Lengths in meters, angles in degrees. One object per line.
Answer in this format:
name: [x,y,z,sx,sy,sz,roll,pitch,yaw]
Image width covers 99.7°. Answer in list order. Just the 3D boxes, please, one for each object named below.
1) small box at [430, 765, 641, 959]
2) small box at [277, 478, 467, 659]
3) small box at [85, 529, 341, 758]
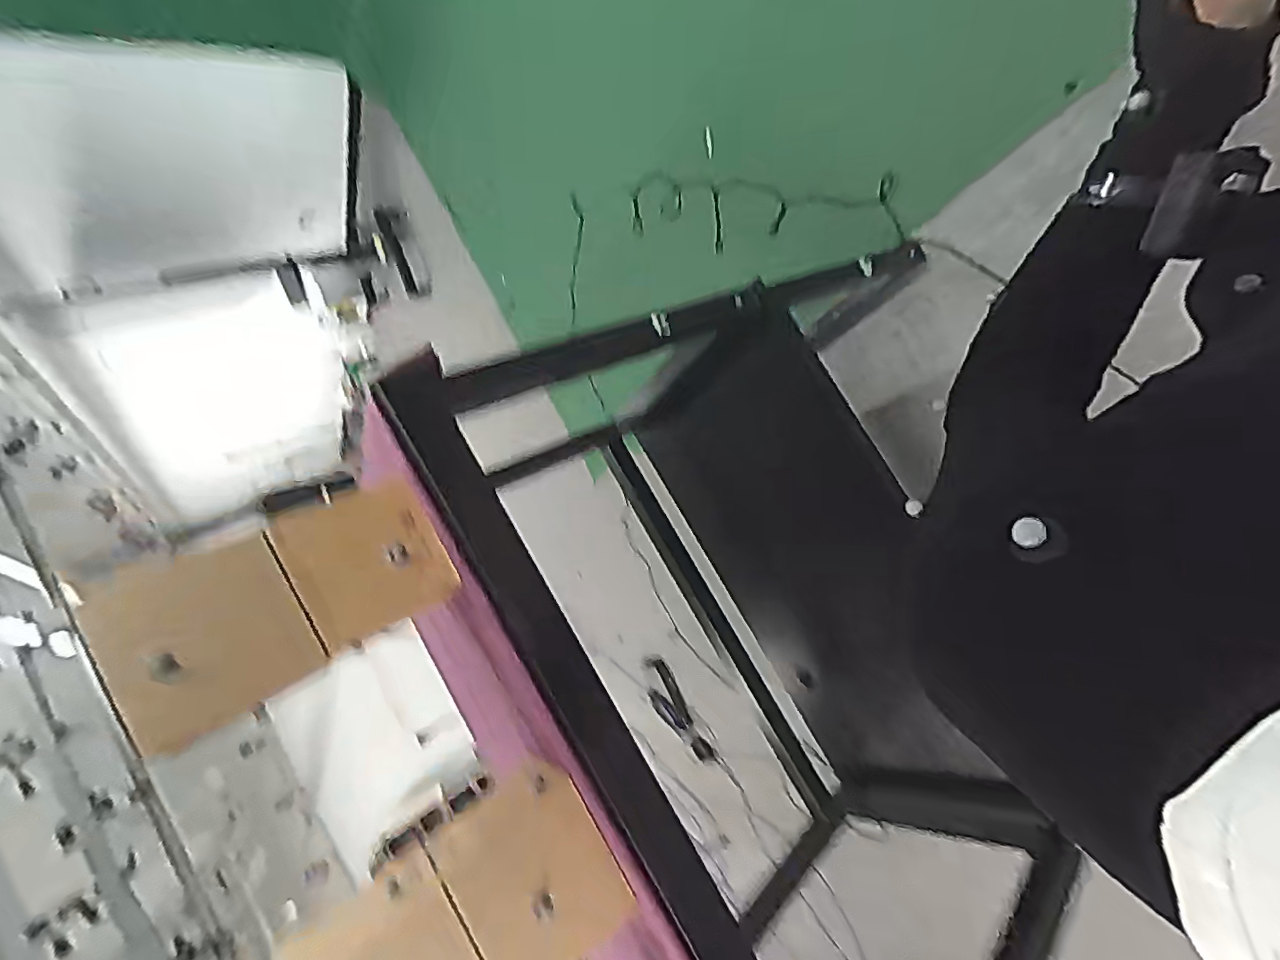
small box: [-0.132,0.488,0.671,0.179,0.176,0.168,59,147,4]
small box: [-0.352,0.120,0.724,0.168,0.176,0.179,60,144,5]
small box: [-0.467,0.184,0.623,0.179,0.176,0.168,60,144,5]
